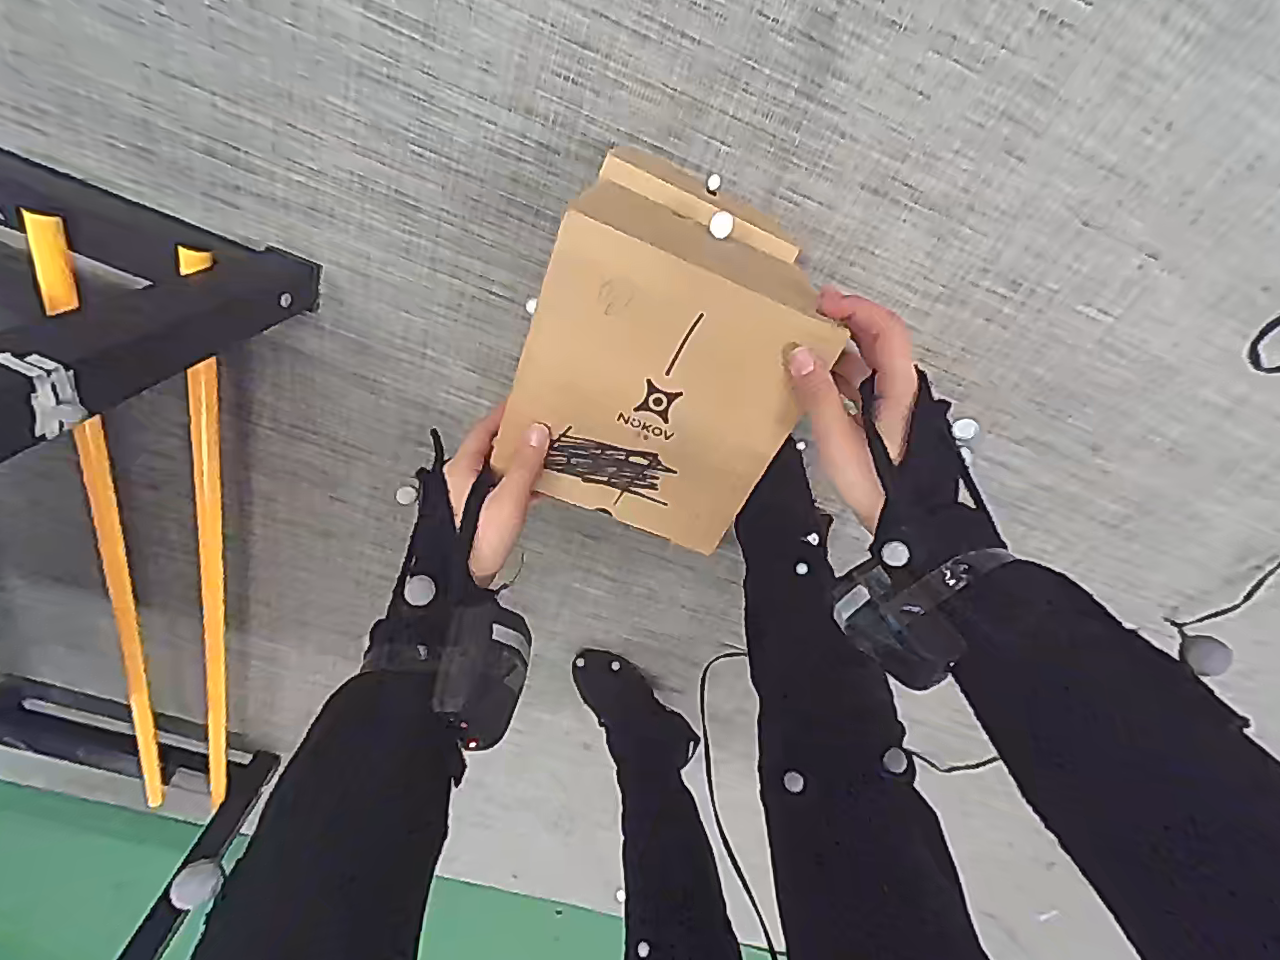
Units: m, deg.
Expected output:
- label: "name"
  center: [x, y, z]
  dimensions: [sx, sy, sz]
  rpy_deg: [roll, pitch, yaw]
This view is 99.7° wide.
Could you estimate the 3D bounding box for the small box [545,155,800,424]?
- label: "small box"
  center: [0.024, -0.190, 0.524]
  dimensions: [0.168, 0.176, 0.179]
  rpy_deg: [22, 122, -9]
